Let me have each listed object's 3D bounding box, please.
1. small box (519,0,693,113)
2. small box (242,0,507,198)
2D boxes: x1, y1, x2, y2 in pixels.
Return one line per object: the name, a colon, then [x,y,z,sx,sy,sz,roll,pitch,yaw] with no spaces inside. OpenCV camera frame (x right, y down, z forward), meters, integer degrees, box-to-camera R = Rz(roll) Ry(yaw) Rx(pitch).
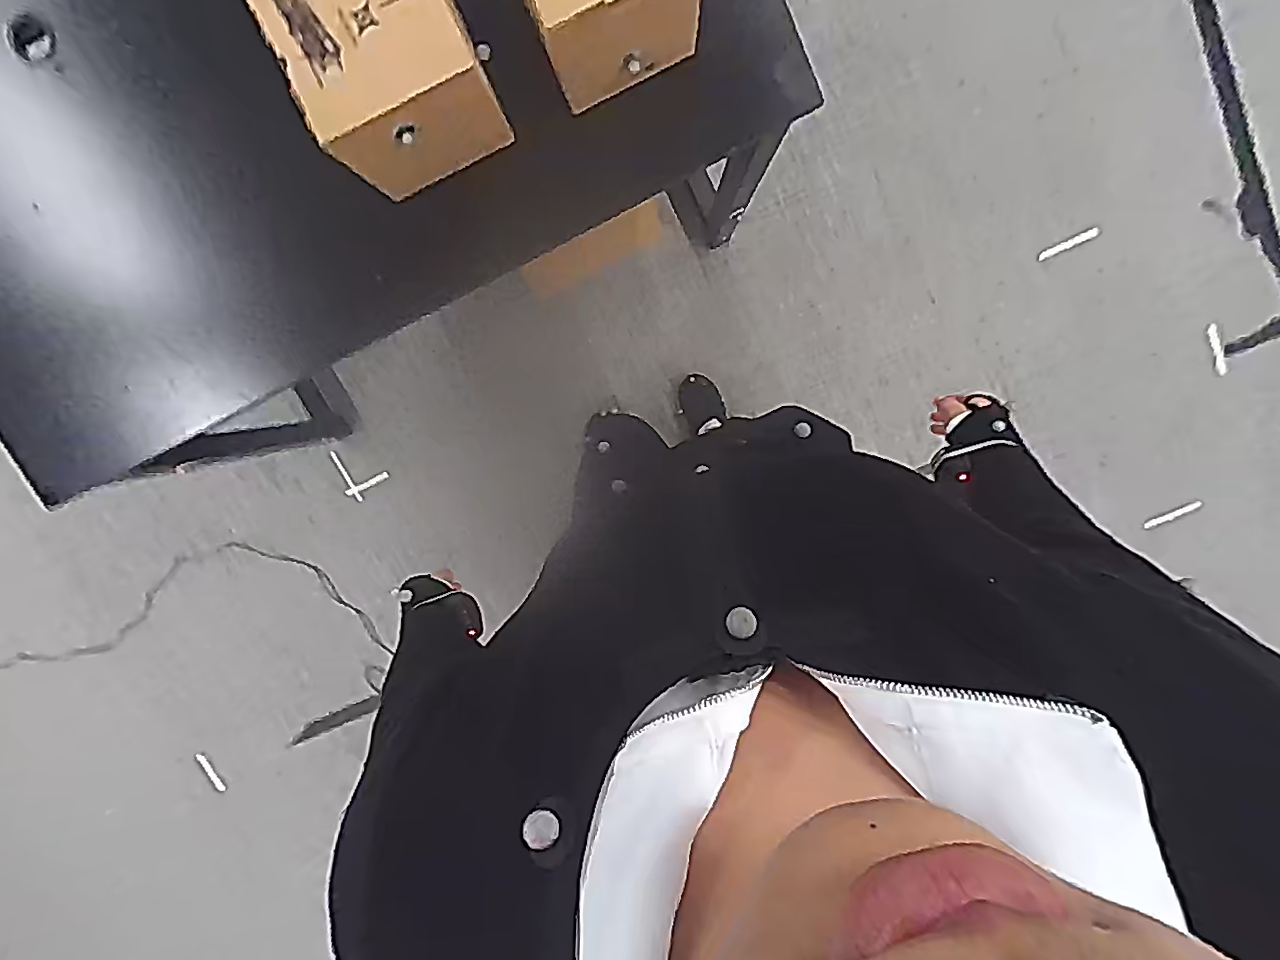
small box: [-0.052,-0.547,0.576,0.168,0.176,0.179,-23,98,6]
small box: [-0.275,-0.448,0.599,0.179,0.176,0.168,-24,99,4]
